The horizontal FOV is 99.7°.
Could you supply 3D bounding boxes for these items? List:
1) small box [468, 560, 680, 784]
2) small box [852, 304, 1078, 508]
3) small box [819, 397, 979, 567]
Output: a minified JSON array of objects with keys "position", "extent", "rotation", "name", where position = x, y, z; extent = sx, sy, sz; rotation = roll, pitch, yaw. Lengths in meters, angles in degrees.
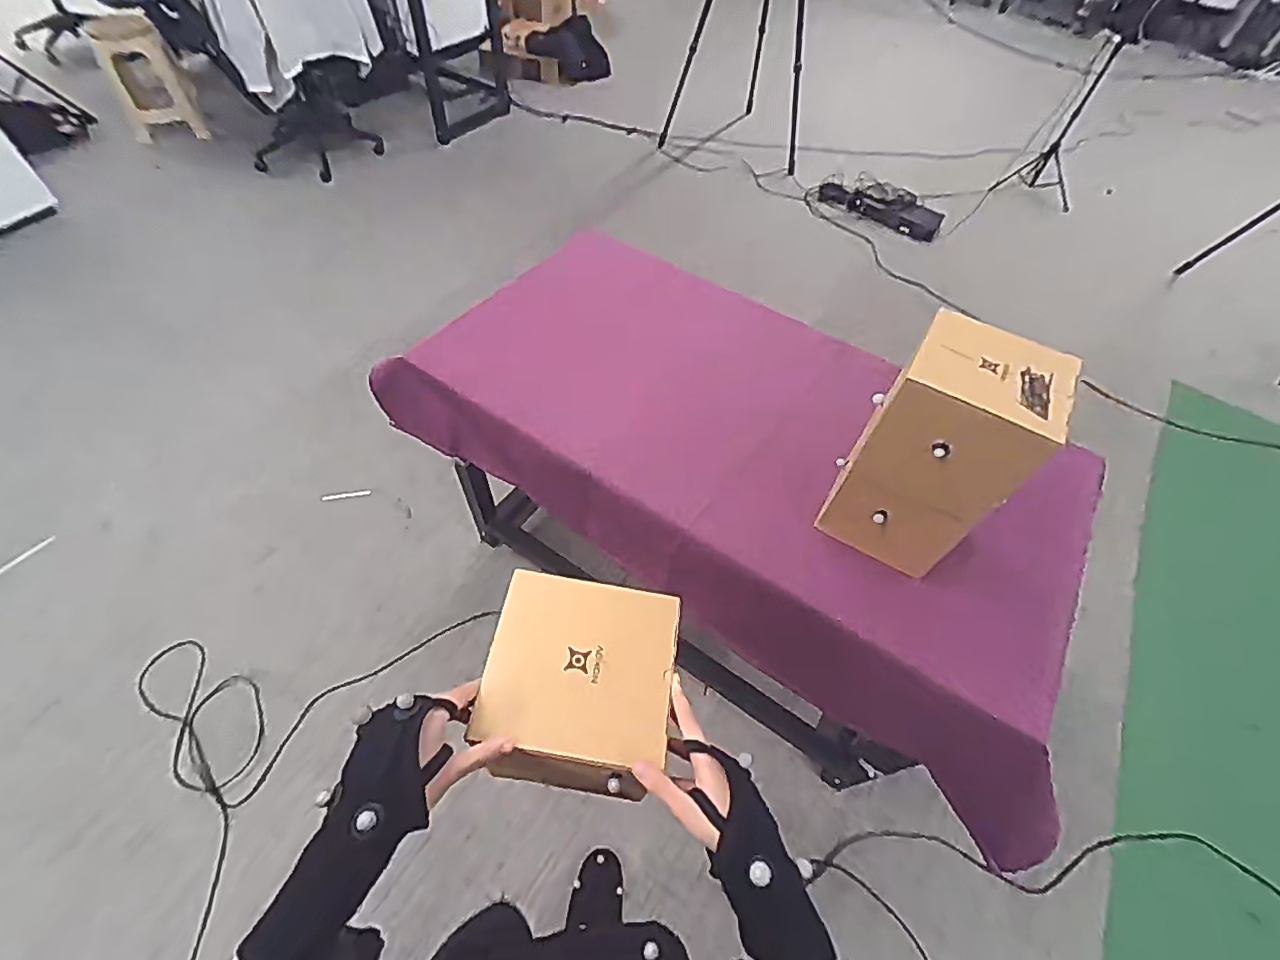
[{"position":[-0.064,0.210,0.577],"extent":[0.179,0.176,0.168],"rotation":[11,51,-2],"name":"small box"},{"position":[0.411,-0.089,0.703],"extent":[0.179,0.176,0.168],"rotation":[29,57,16],"name":"small box"},{"position":[0.403,0.006,0.837],"extent":[0.179,0.176,0.168],"rotation":[28,57,16],"name":"small box"}]
